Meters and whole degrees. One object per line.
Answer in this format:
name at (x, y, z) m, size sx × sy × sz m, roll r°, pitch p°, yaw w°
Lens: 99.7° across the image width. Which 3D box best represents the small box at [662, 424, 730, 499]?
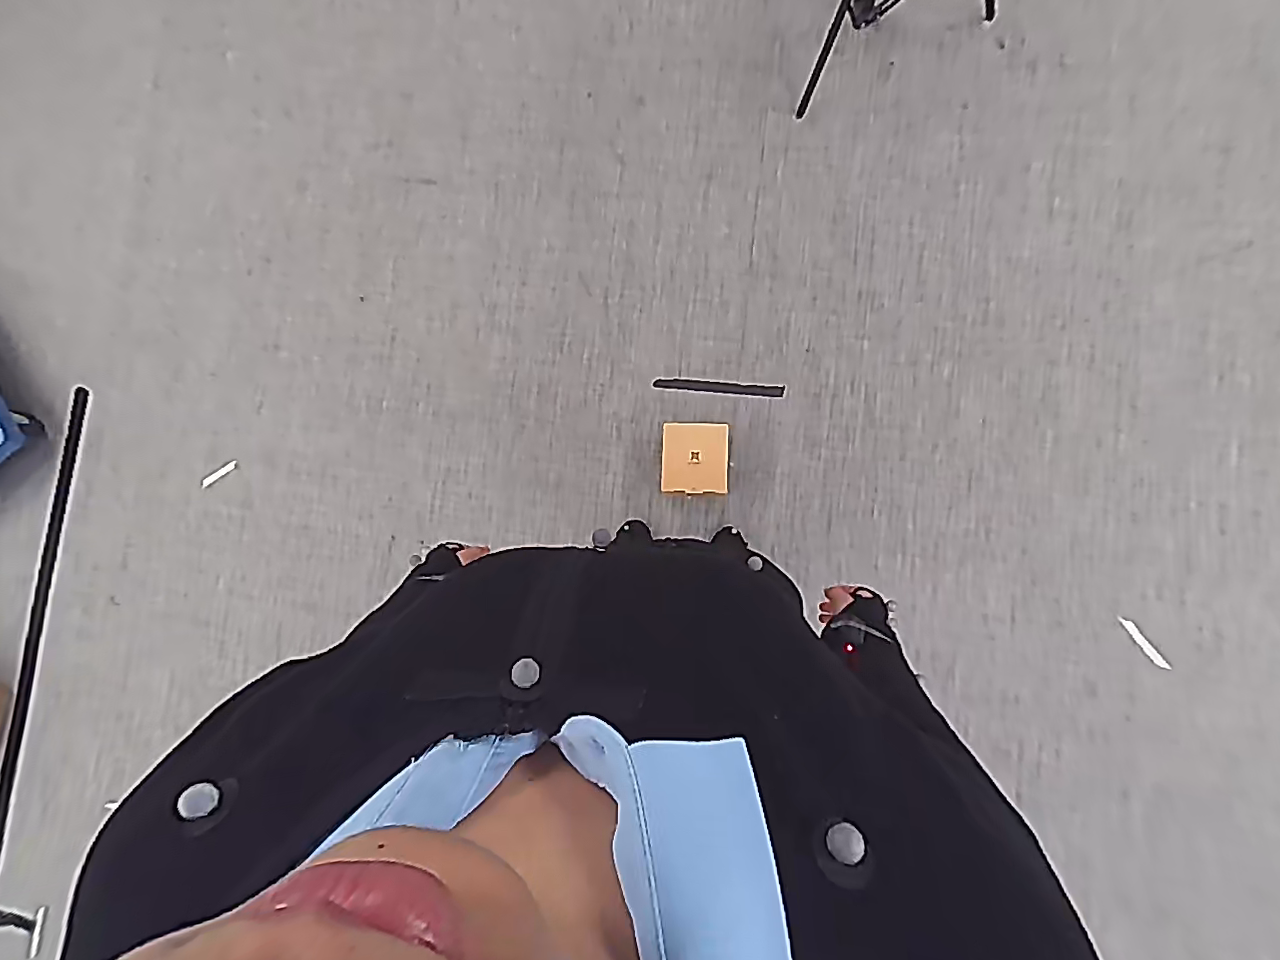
small box at (0.146, -0.045, 1.423) m, size 0.168 × 0.176 × 0.179 m, roll 1°, pitch 86°, yaw 6°
